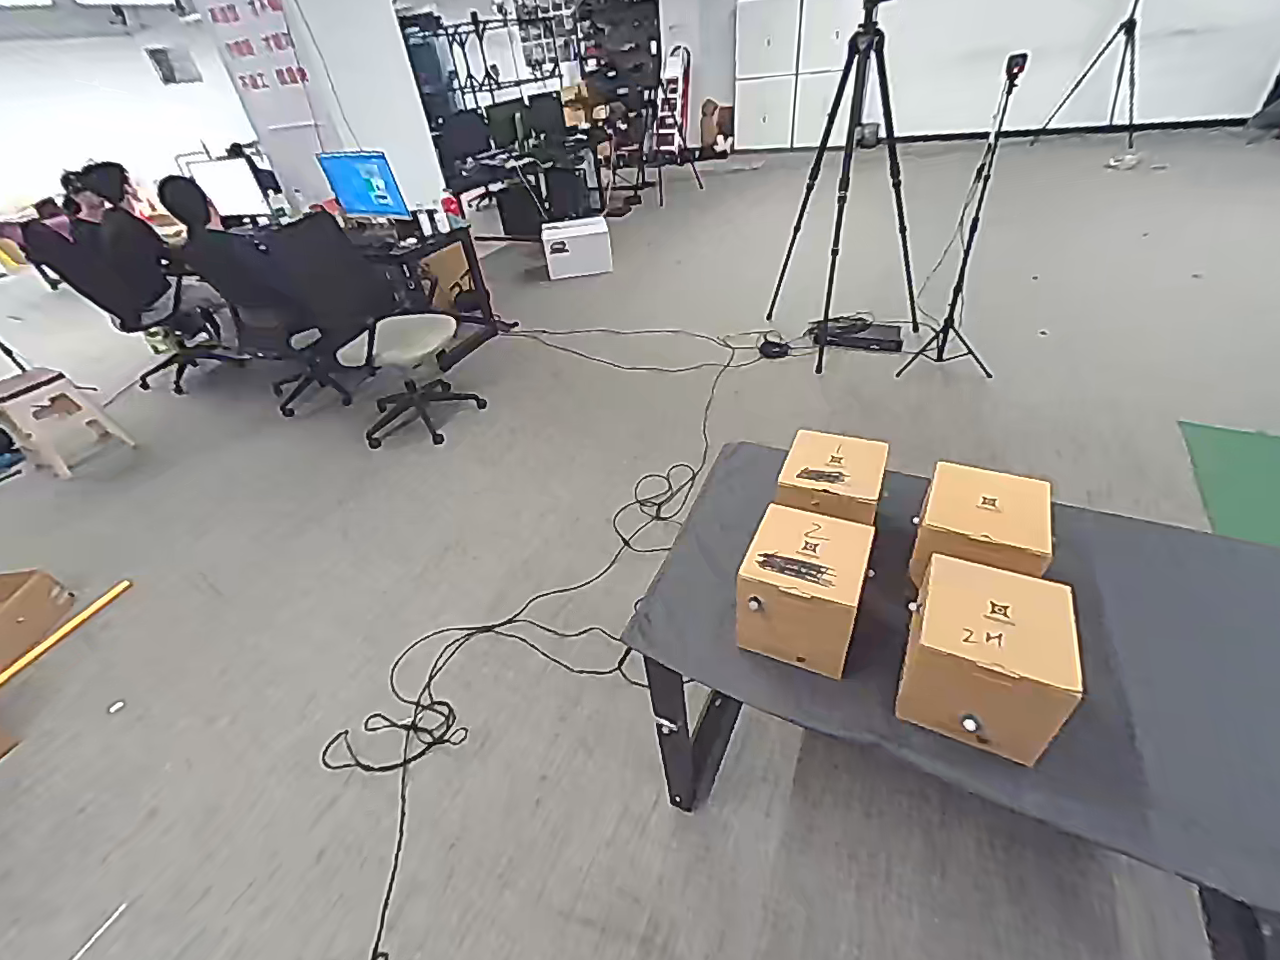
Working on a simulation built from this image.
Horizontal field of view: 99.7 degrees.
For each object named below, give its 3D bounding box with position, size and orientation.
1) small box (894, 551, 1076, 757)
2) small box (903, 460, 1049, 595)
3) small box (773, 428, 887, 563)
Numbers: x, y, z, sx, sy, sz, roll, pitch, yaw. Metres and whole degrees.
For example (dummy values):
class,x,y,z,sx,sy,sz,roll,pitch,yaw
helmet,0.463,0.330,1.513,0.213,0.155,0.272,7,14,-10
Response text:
class,x,y,z,sx,sy,sz,roll,pitch,yaw
small box,0.459,0.233,0.739,0.168,0.176,0.179,14,42,25
small box,0.551,0.097,0.899,0.168,0.176,0.179,15,45,25
small box,0.351,0.028,1.012,0.168,0.176,0.179,13,43,23
